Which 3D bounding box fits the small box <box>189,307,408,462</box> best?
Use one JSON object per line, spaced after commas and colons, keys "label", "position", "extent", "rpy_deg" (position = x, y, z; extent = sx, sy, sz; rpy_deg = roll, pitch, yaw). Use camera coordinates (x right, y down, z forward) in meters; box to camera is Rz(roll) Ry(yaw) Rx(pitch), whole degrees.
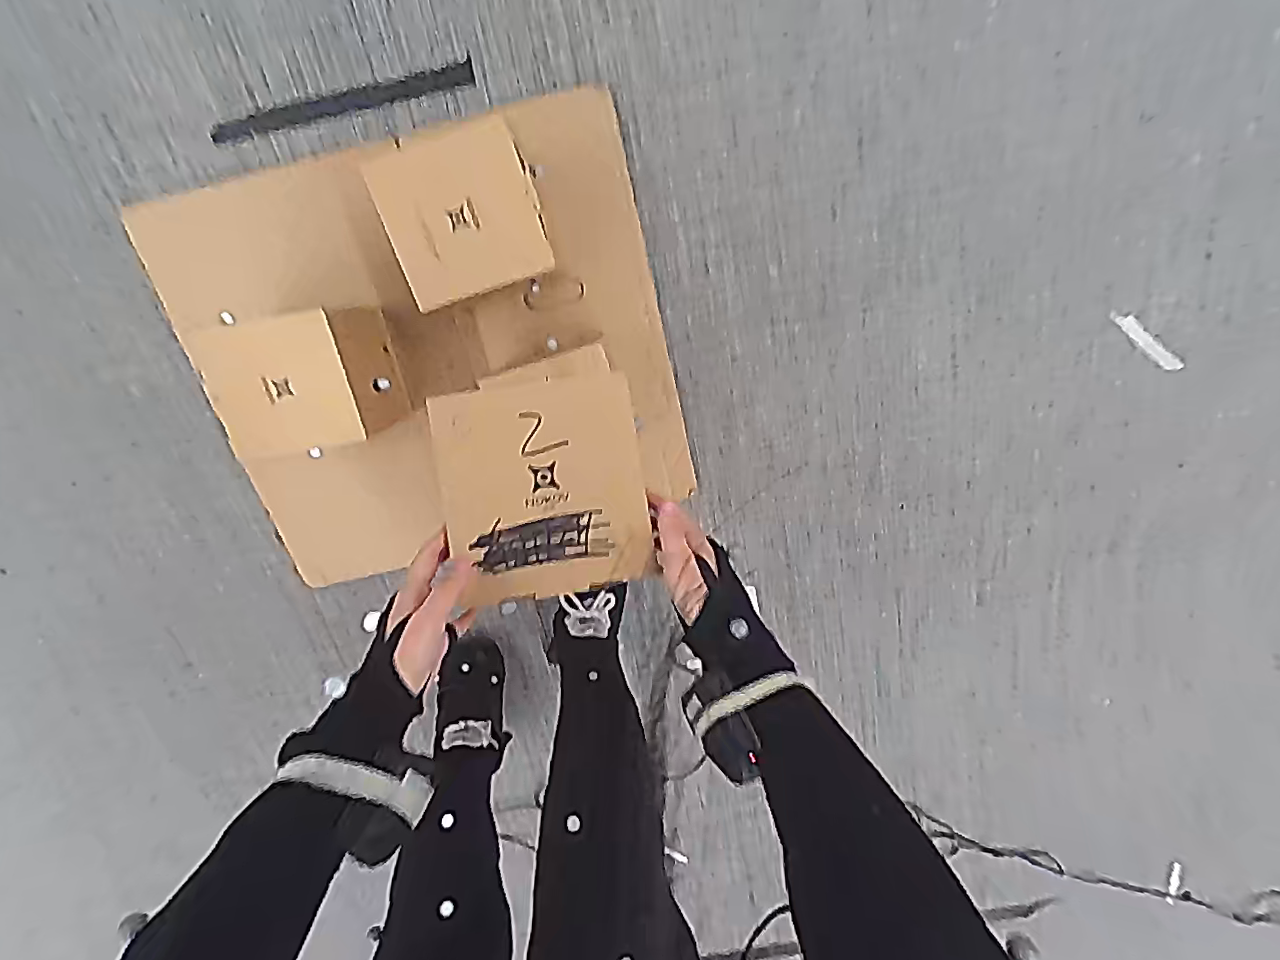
{"label": "small box", "position": [-0.441, -0.138, 0.739], "extent": [0.179, 0.176, 0.168], "rpy_deg": [-10, 109, 2]}

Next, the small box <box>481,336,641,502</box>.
{"label": "small box", "position": [-0.101, -0.094, 0.770], "extent": [0.168, 0.176, 0.179], "rpy_deg": [-17, 108, 3]}

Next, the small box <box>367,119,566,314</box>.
{"label": "small box", "position": [-0.202, -0.321, 0.692], "extent": [0.179, 0.176, 0.168], "rpy_deg": [-18, 107, 4]}
